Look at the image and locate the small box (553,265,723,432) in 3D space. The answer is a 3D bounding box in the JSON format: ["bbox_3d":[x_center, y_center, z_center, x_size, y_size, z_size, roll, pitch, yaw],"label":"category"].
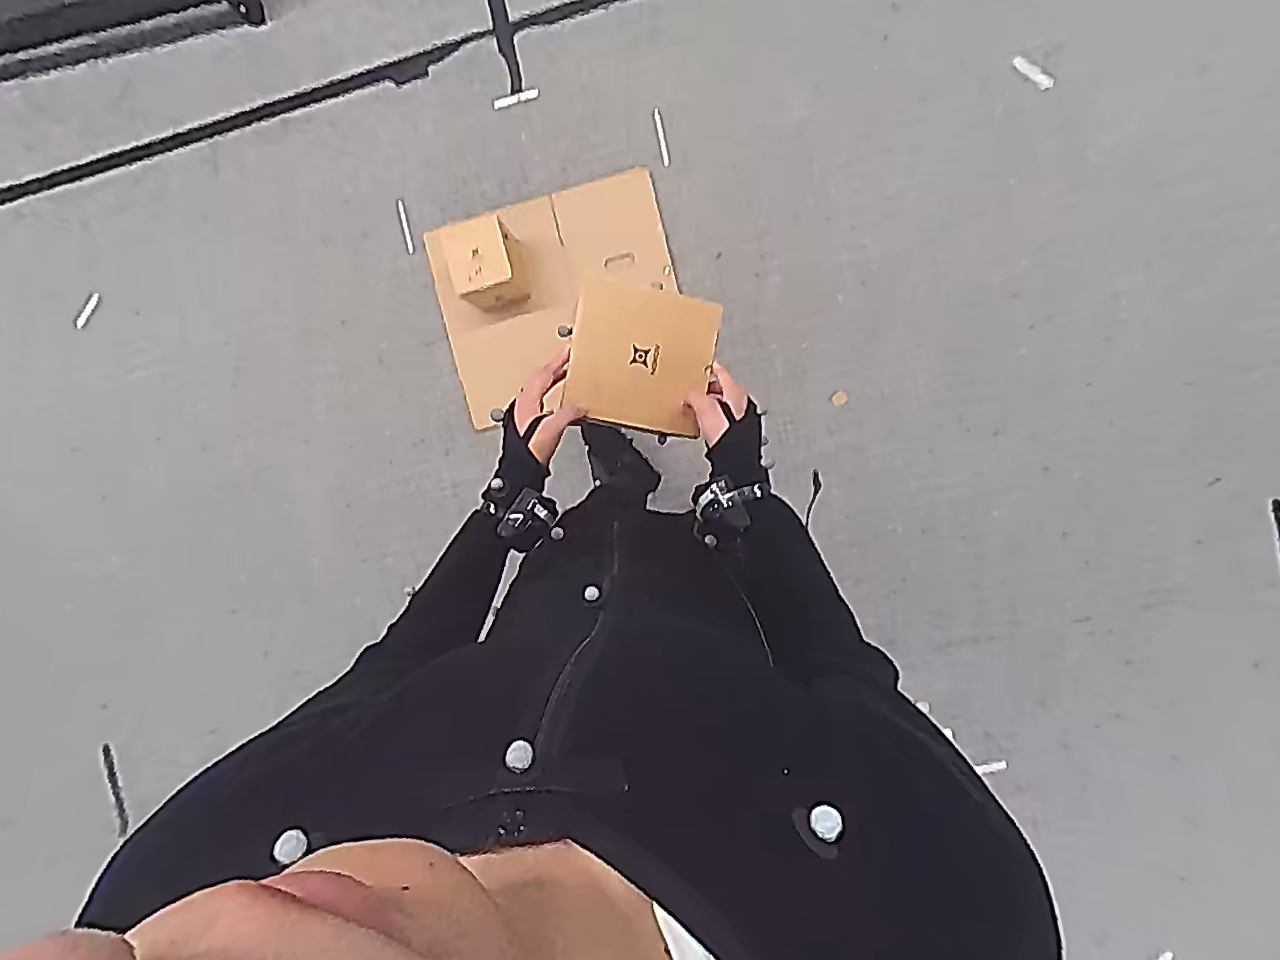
[{"bbox_3d":[-0.014,-0.160,0.714,0.179,0.176,0.168,10,94,-13],"label":"small box"}]

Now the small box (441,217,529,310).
[{"bbox_3d":[-0.429,-0.599,1.516,0.168,0.176,0.179,-14,93,6],"label":"small box"}]
